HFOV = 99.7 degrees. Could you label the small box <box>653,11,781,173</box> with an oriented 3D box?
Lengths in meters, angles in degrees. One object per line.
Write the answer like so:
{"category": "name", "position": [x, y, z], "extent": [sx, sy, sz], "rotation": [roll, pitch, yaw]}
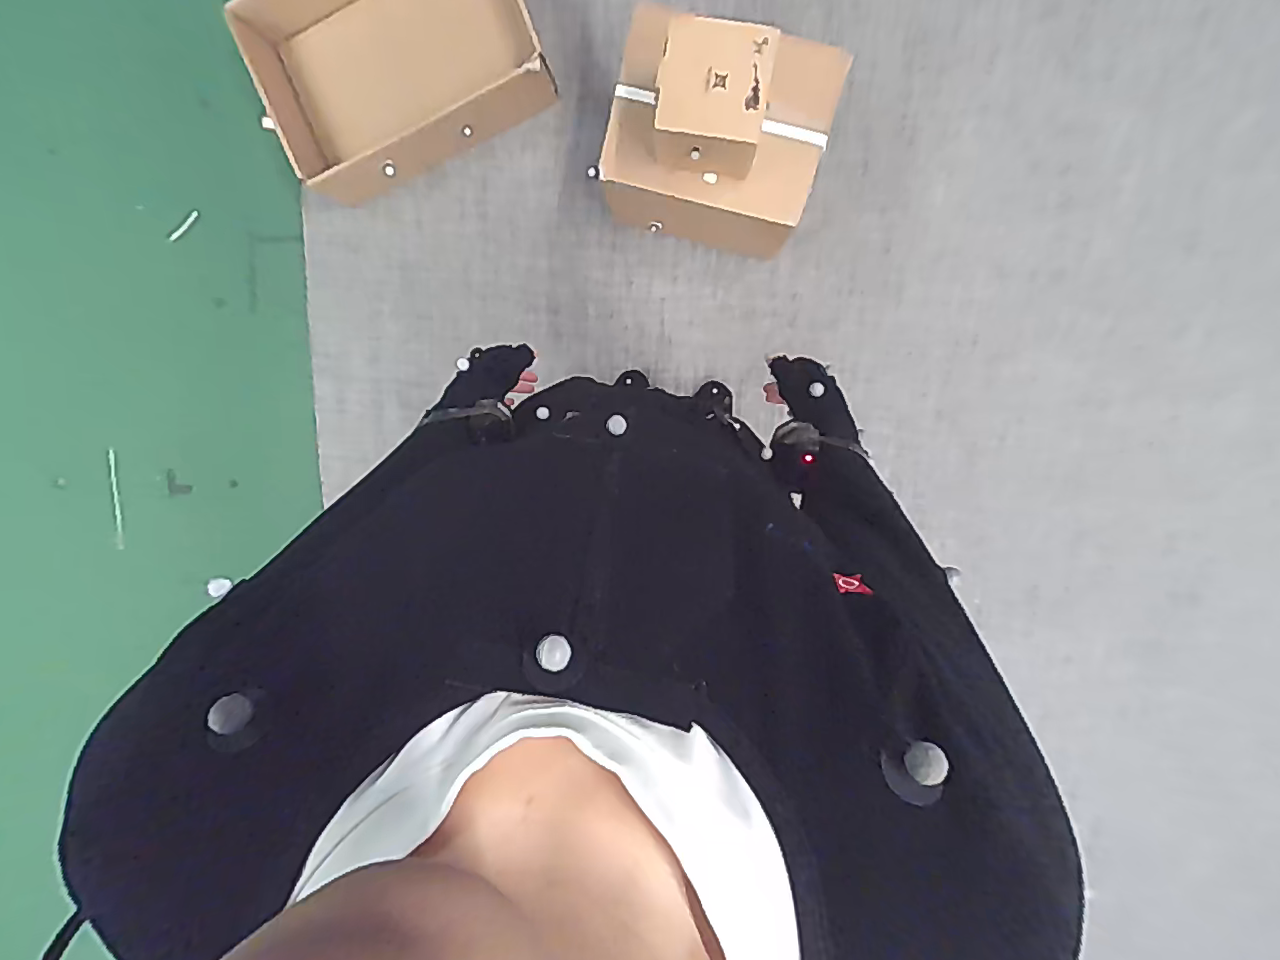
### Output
{"category": "small box", "position": [0.128, -0.651, 0.928], "extent": [0.179, 0.176, 0.168], "rotation": [11, 103, 4]}
